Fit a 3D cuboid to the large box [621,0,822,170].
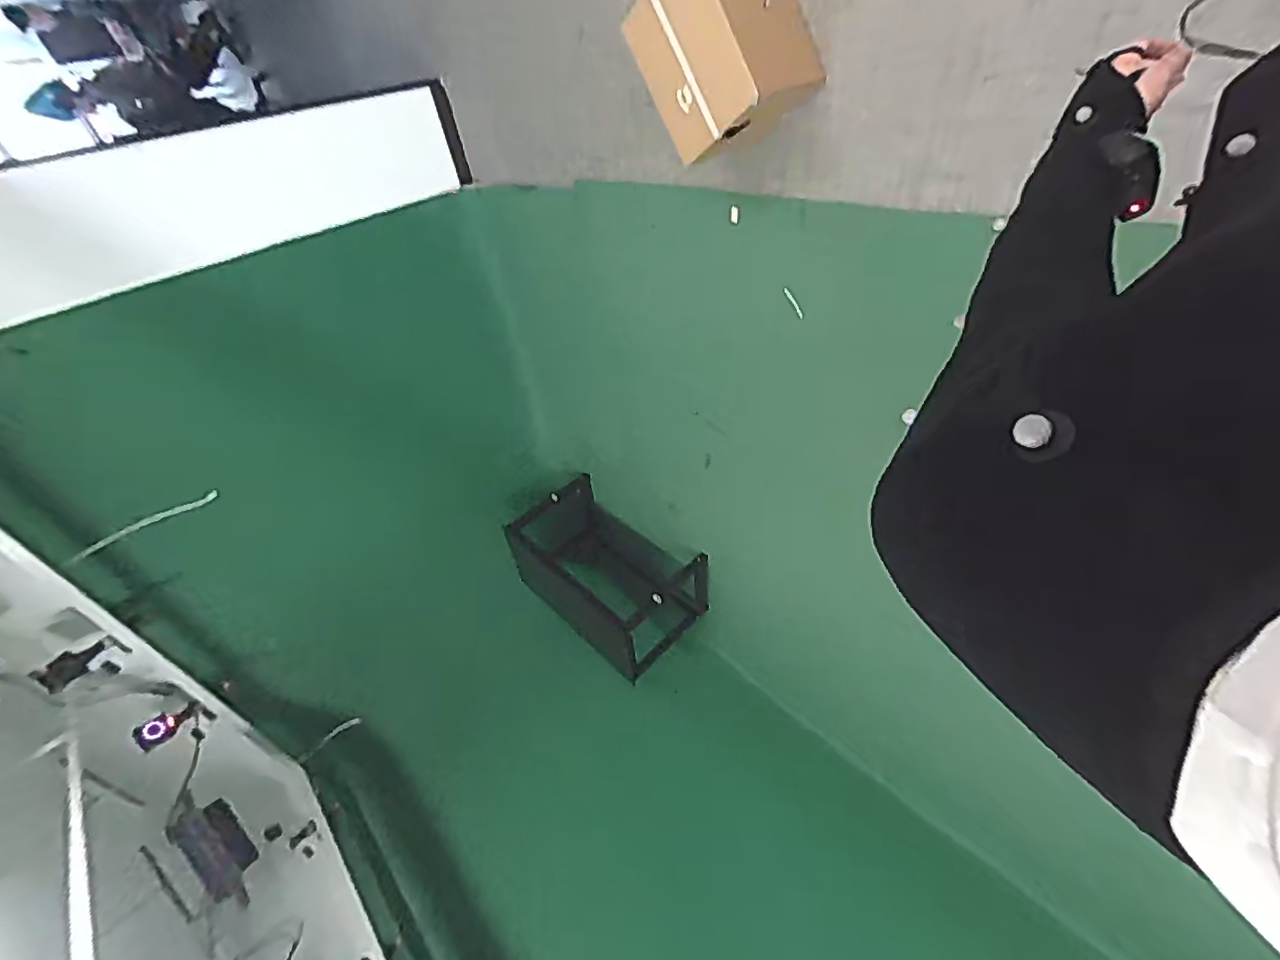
[{"bbox_3d":[0.224,-1.166,1.487,0.320,0.320,0.408,-9,115,59],"label":"large box"}]
